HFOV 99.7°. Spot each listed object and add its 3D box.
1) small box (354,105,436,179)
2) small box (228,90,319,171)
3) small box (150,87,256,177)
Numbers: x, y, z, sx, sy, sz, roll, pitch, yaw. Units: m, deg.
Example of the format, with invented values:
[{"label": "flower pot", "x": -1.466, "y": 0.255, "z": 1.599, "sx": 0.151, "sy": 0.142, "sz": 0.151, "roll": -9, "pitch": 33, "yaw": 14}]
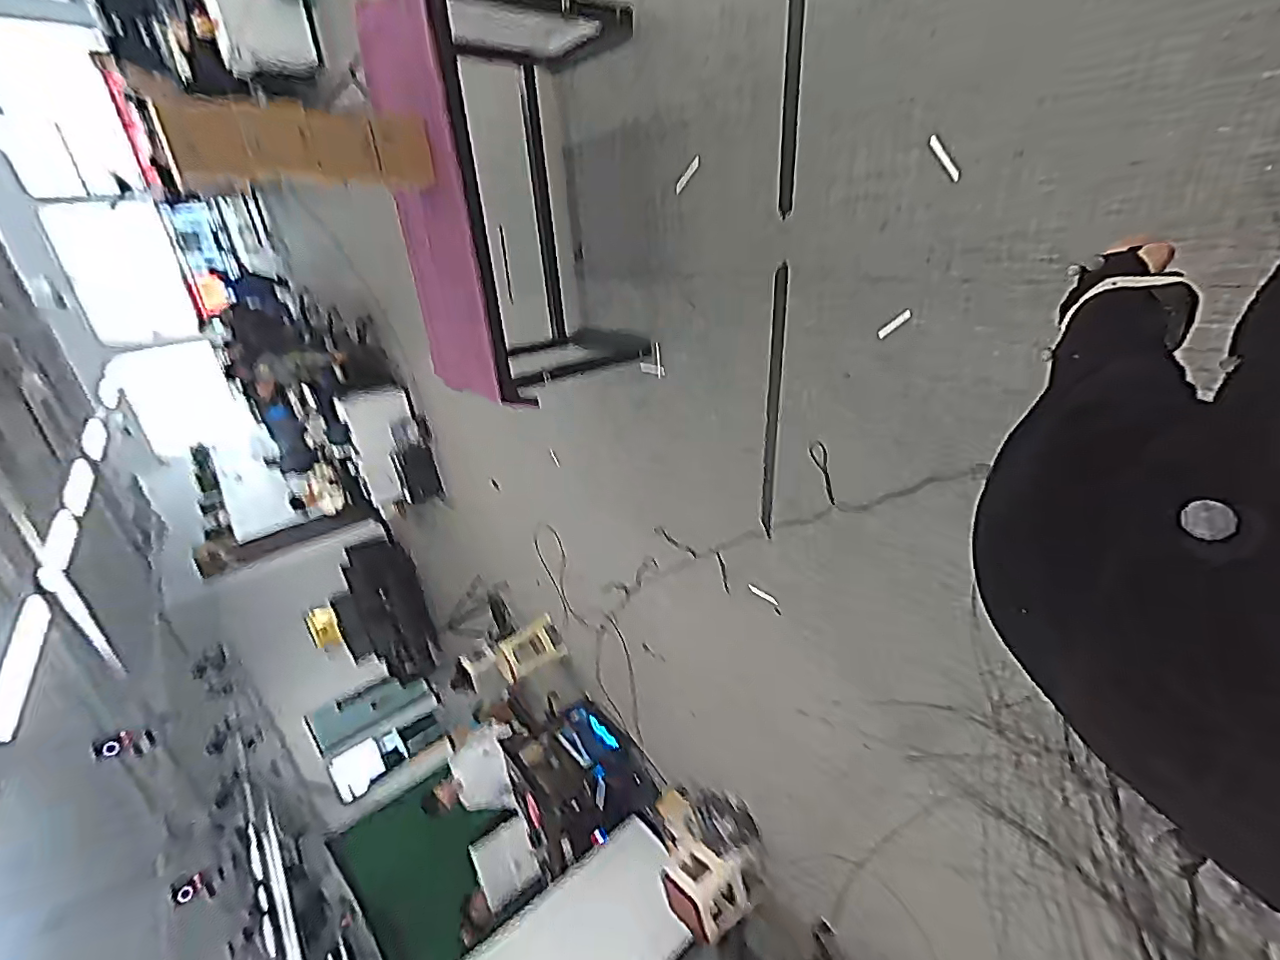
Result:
[{"label": "small box", "x": -0.766, "y": -1.053, "z": 1.696, "sx": 0.168, "sy": 0.176, "sz": 0.179, "roll": 25, "pitch": 128, "yaw": 46}, {"label": "small box", "x": -1.019, "y": -0.964, "z": 1.506, "sx": 0.179, "sy": 0.176, "sz": 0.168, "roll": 24, "pitch": 128, "yaw": 46}, {"label": "small box", "x": -1.151, "y": -0.909, "z": 1.427, "sx": 0.168, "sy": 0.176, "sz": 0.179, "roll": 23, "pitch": 127, "yaw": 46}]
